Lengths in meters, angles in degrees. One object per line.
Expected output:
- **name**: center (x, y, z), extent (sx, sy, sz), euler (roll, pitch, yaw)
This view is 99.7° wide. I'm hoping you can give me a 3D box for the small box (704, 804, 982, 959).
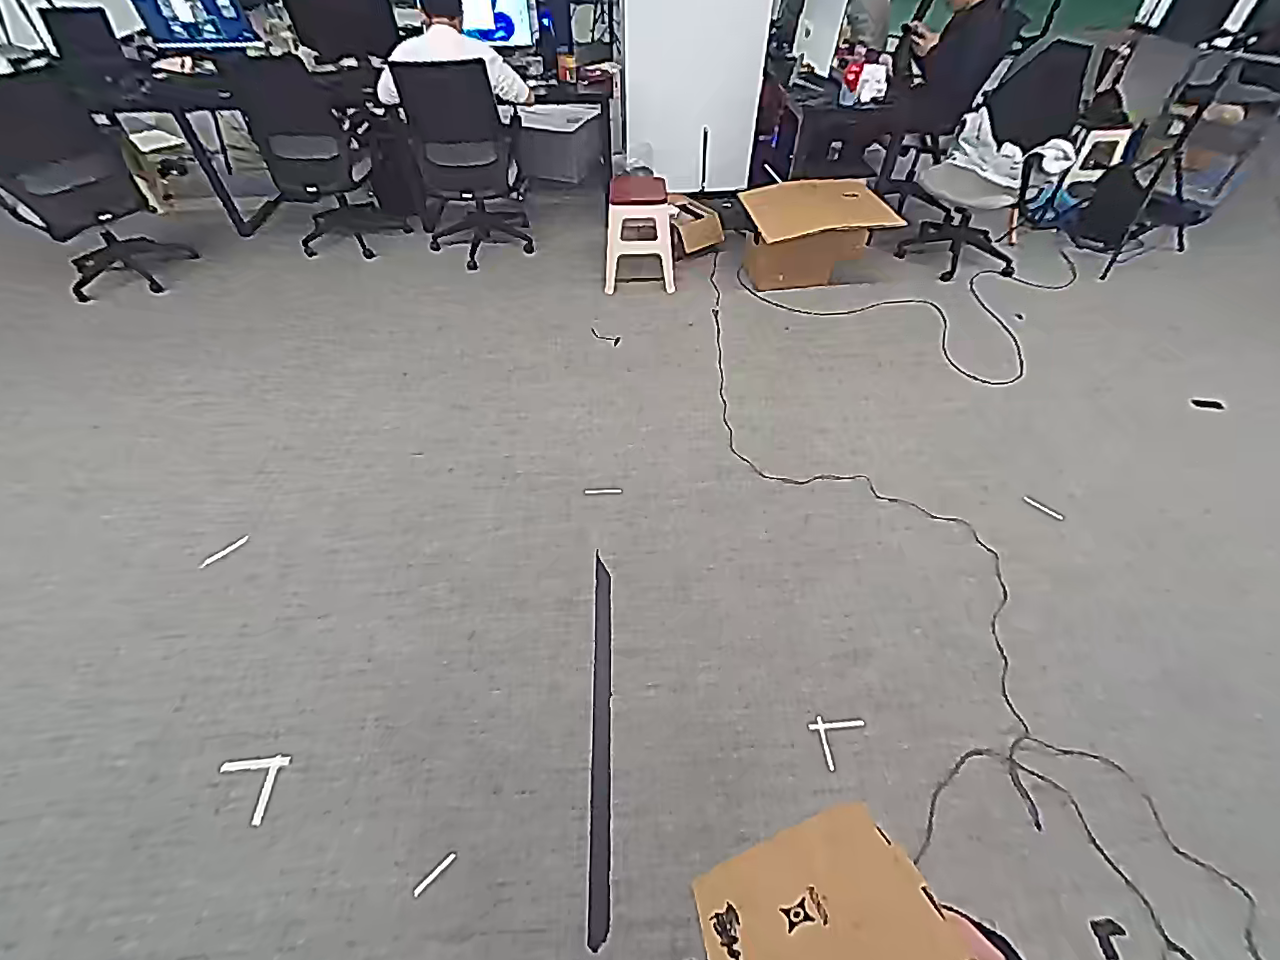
- **small box**: center (0.175, 0.422, 0.442), extent (0.179, 0.168, 0.176), euler (-23, 92, -3)
